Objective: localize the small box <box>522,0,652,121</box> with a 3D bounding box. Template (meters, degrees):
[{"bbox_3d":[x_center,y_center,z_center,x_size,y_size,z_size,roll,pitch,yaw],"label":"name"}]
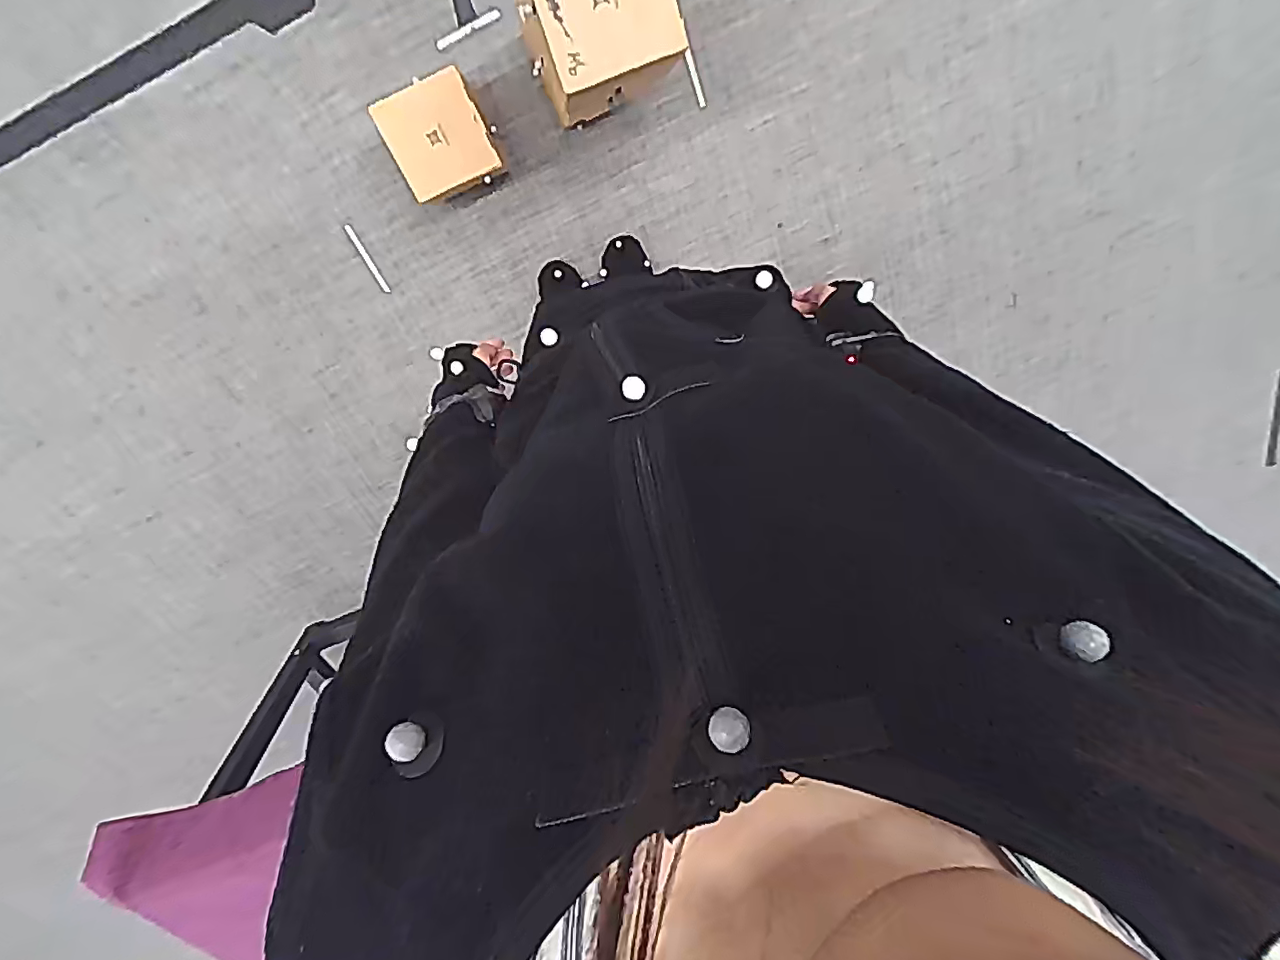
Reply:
[{"bbox_3d":[-0.076,-0.710,0.874,0.179,0.176,0.168,-23,119,3],"label":"small box"}]

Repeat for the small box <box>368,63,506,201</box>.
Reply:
[{"bbox_3d":[-0.377,-0.656,1.044,0.179,0.176,0.168,-24,118,4],"label":"small box"}]

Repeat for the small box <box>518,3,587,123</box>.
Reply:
[{"bbox_3d":[-0.109,-0.797,1.010,0.168,0.176,0.179,-25,118,4],"label":"small box"}]

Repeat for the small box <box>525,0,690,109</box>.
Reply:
[{"bbox_3d":[-0.052,-0.632,0.731,0.179,0.176,0.168,-20,119,1],"label":"small box"}]
